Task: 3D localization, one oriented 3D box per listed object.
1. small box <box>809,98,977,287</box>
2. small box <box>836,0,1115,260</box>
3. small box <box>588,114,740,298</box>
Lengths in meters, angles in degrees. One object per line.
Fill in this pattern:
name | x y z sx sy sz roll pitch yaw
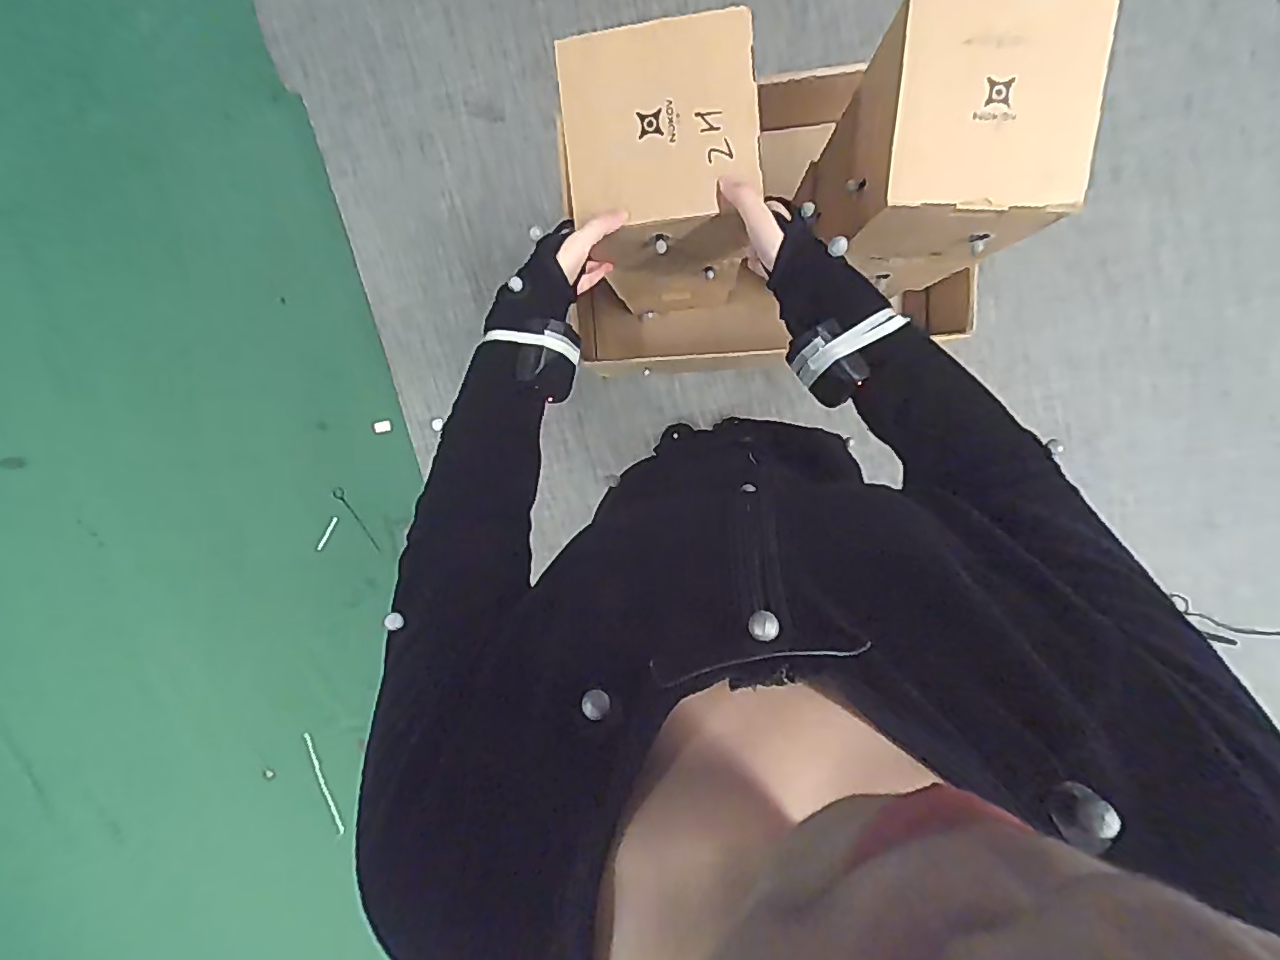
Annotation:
small box | 0.320 -0.352 0.692 0.168 0.176 0.179 4 99 5
small box | 0.302 -0.327 0.531 0.168 0.176 0.179 4 98 5
small box | 0.037 -0.350 0.727 0.179 0.176 0.168 -4 97 6
